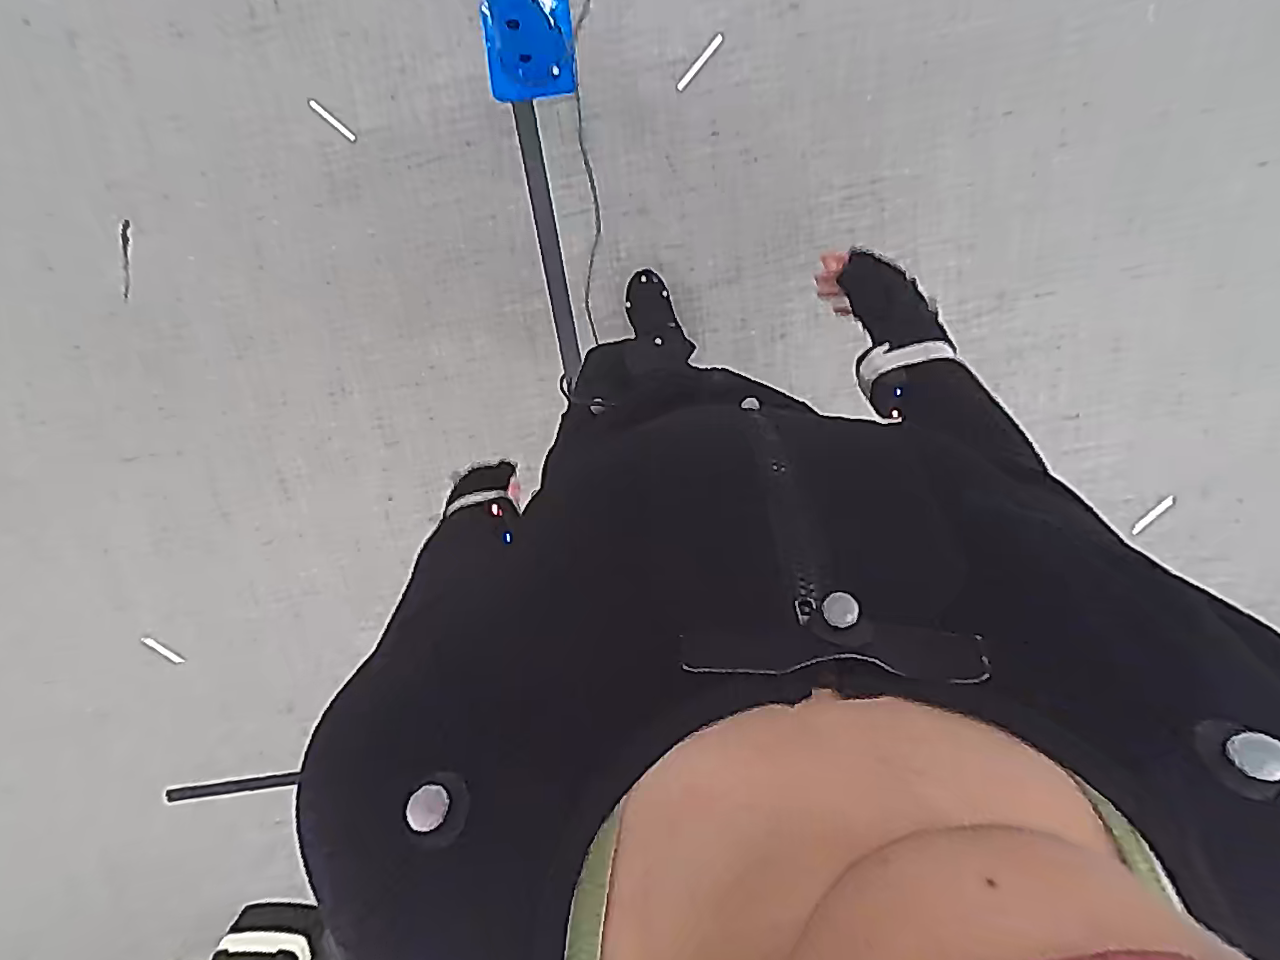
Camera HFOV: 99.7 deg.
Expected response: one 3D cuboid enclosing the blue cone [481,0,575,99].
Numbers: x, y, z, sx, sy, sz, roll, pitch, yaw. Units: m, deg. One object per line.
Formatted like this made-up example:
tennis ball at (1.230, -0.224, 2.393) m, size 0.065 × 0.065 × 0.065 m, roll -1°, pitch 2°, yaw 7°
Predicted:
blue cone at (-0.248, -0.918, 1.033) m, size 0.193 × 0.380 × 0.192 m, roll -7°, pitch 105°, yaw 2°
